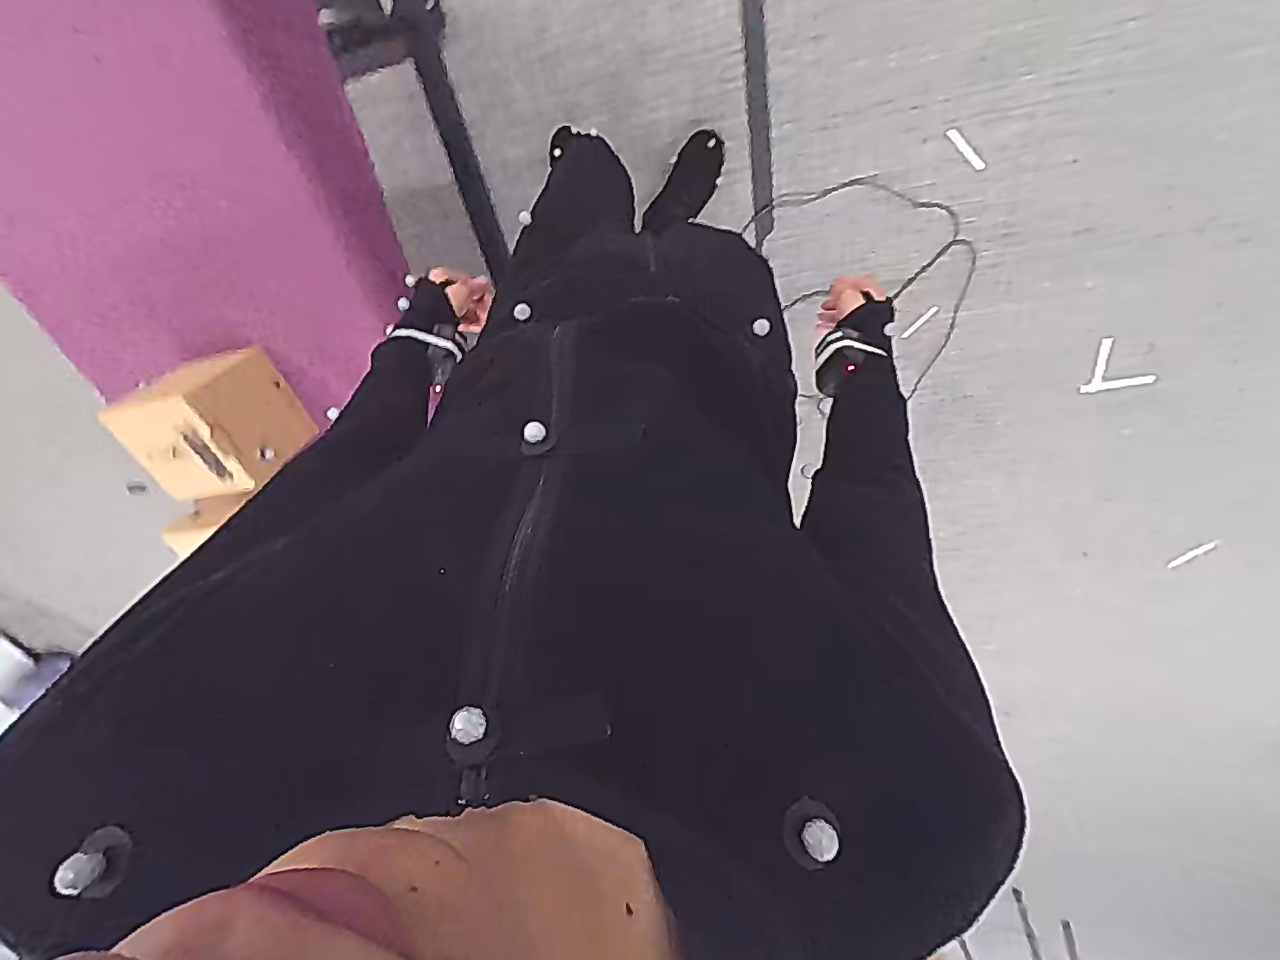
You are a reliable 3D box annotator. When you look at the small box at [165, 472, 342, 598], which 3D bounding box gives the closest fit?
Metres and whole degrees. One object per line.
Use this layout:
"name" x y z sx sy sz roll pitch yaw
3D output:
"small box" -0.721 0.103 1.031 0.179 0.176 0.168 -8 126 13
